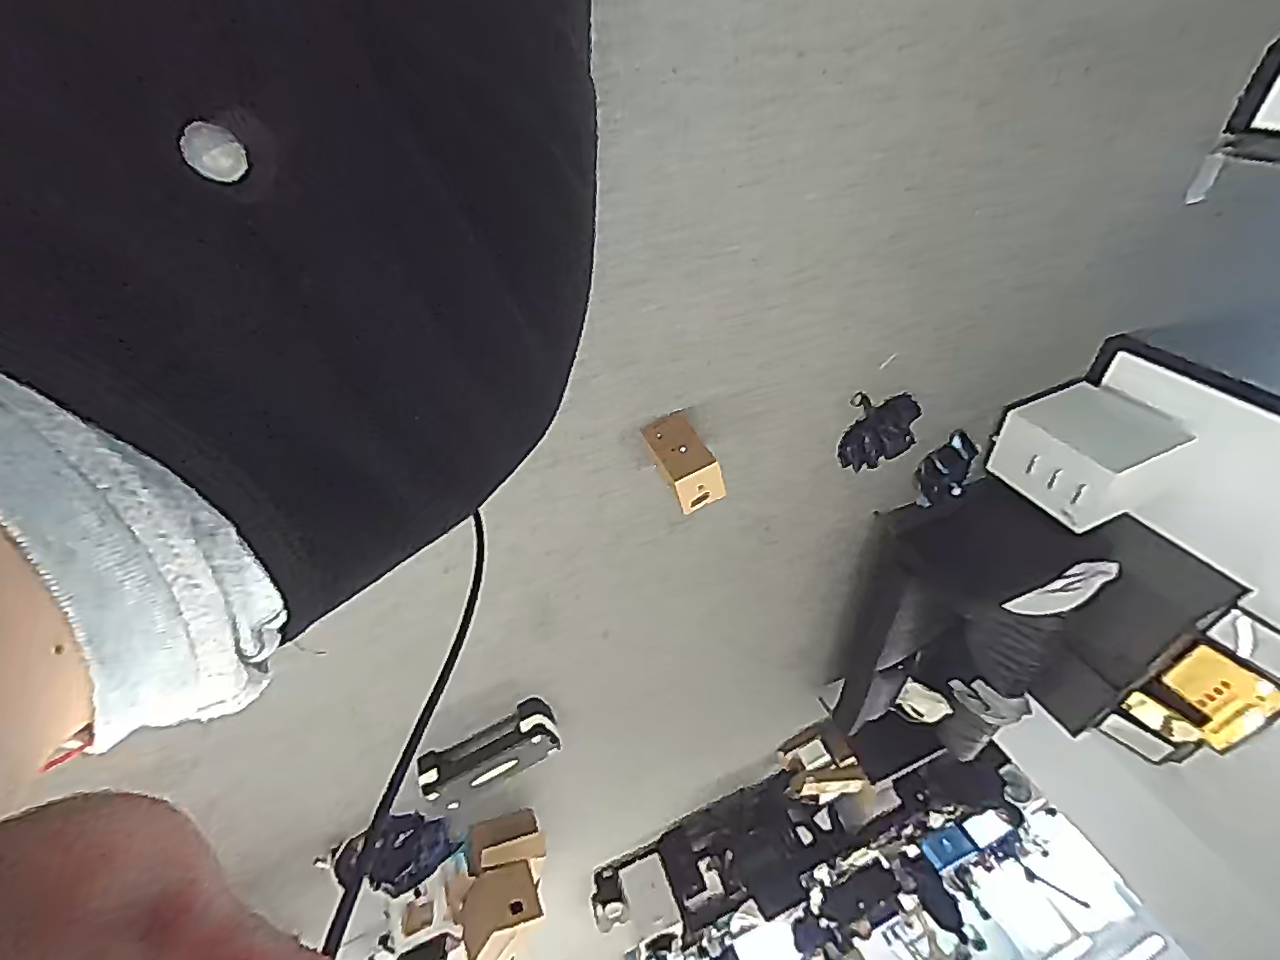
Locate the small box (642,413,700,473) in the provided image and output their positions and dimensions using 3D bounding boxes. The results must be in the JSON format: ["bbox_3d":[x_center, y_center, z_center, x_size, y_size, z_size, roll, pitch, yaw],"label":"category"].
[{"bbox_3d":[0.123,-0.125,1.998,0.168,0.176,0.179,-26,136,-4],"label":"small box"}]

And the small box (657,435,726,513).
[{"bbox_3d":[0.178,-0.025,1.879,0.168,0.176,0.179,-26,134,-5],"label":"small box"}]
